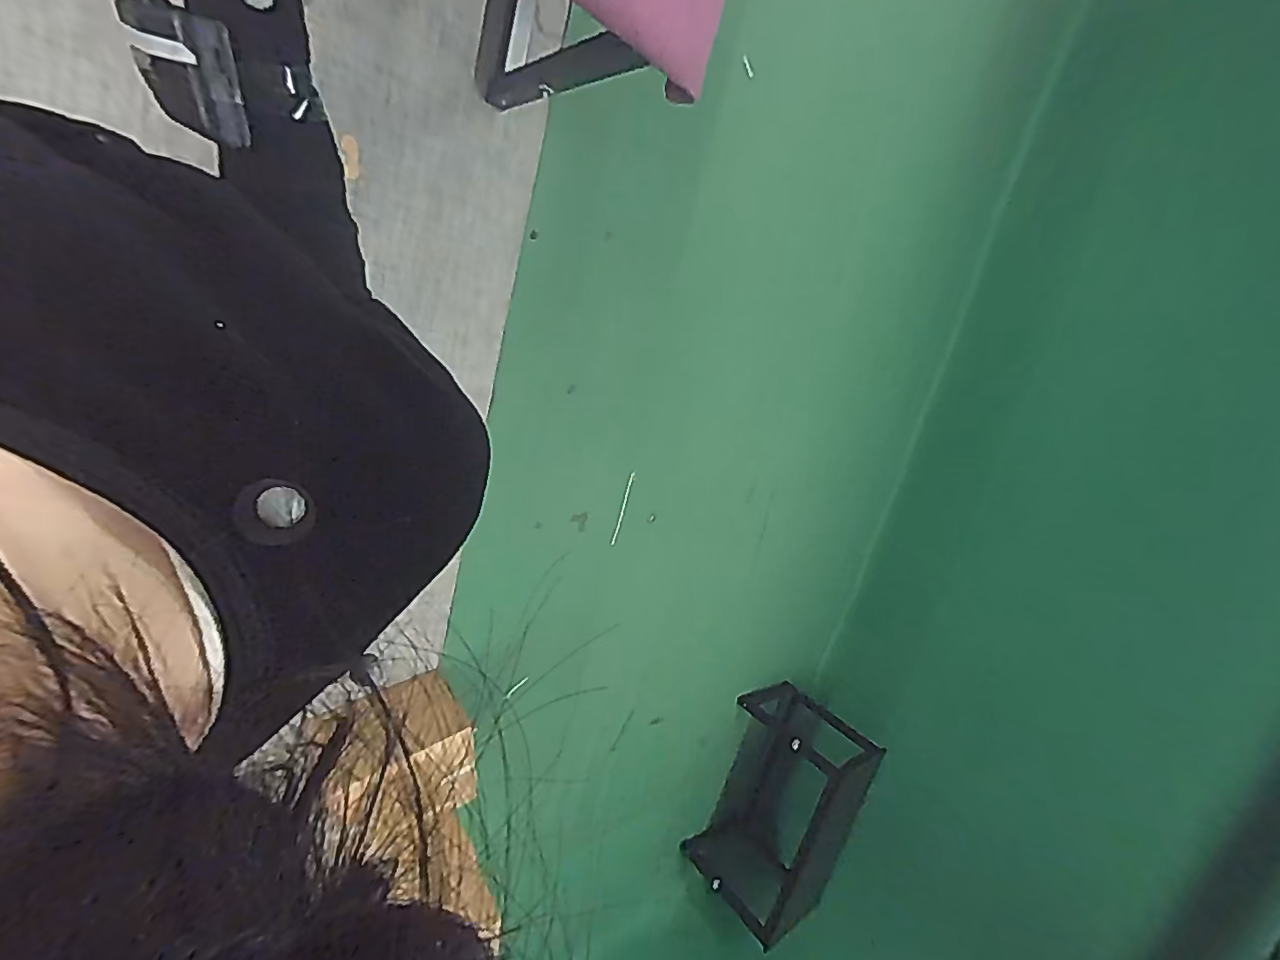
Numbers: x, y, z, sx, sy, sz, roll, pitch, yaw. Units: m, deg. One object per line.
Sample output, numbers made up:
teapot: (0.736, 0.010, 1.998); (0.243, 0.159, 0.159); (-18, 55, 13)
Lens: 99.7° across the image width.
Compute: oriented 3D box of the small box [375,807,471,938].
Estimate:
small box: (-0.552, 0.982, 1.371); (0.179, 0.176, 0.168); (-6, 113, -41)

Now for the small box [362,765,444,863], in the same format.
small box: (-0.652, 0.921, 1.483); (0.168, 0.176, 0.179); (-7, 114, -40)

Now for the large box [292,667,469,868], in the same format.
large box: (-0.794, 0.862, 1.679); (0.408, 0.320, 0.320); (-15, 121, -39)
